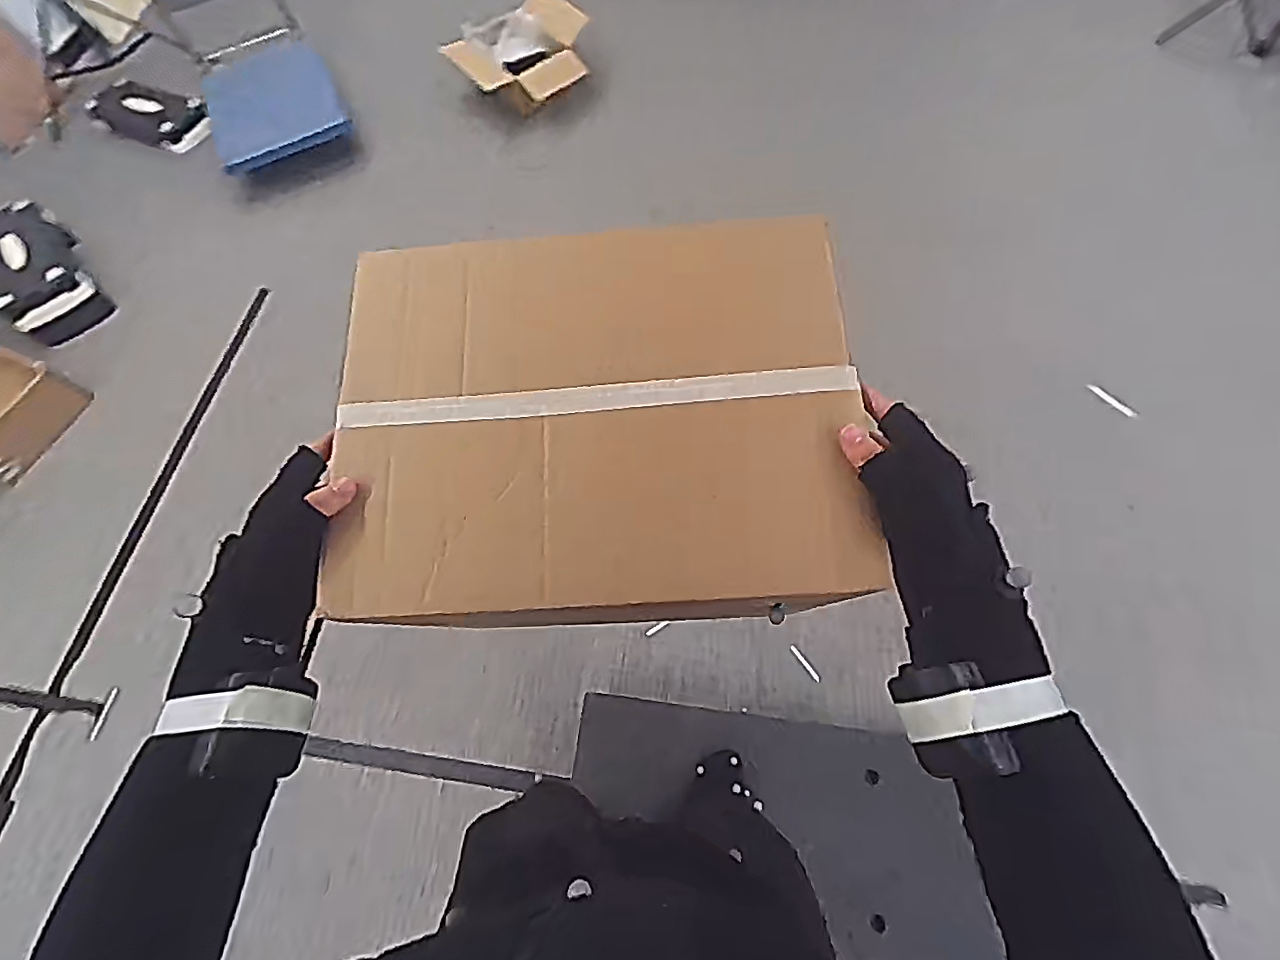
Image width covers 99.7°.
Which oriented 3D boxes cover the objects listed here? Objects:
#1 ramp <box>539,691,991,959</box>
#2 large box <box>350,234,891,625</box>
[{"bbox_3d":[0.306,0.807,1.248,0.991,0.206,0.509,4,64,5],"label":"ramp"},{"bbox_3d":[-0.014,-0.013,0.574,0.408,0.320,0.320,-3,73,3],"label":"large box"}]
